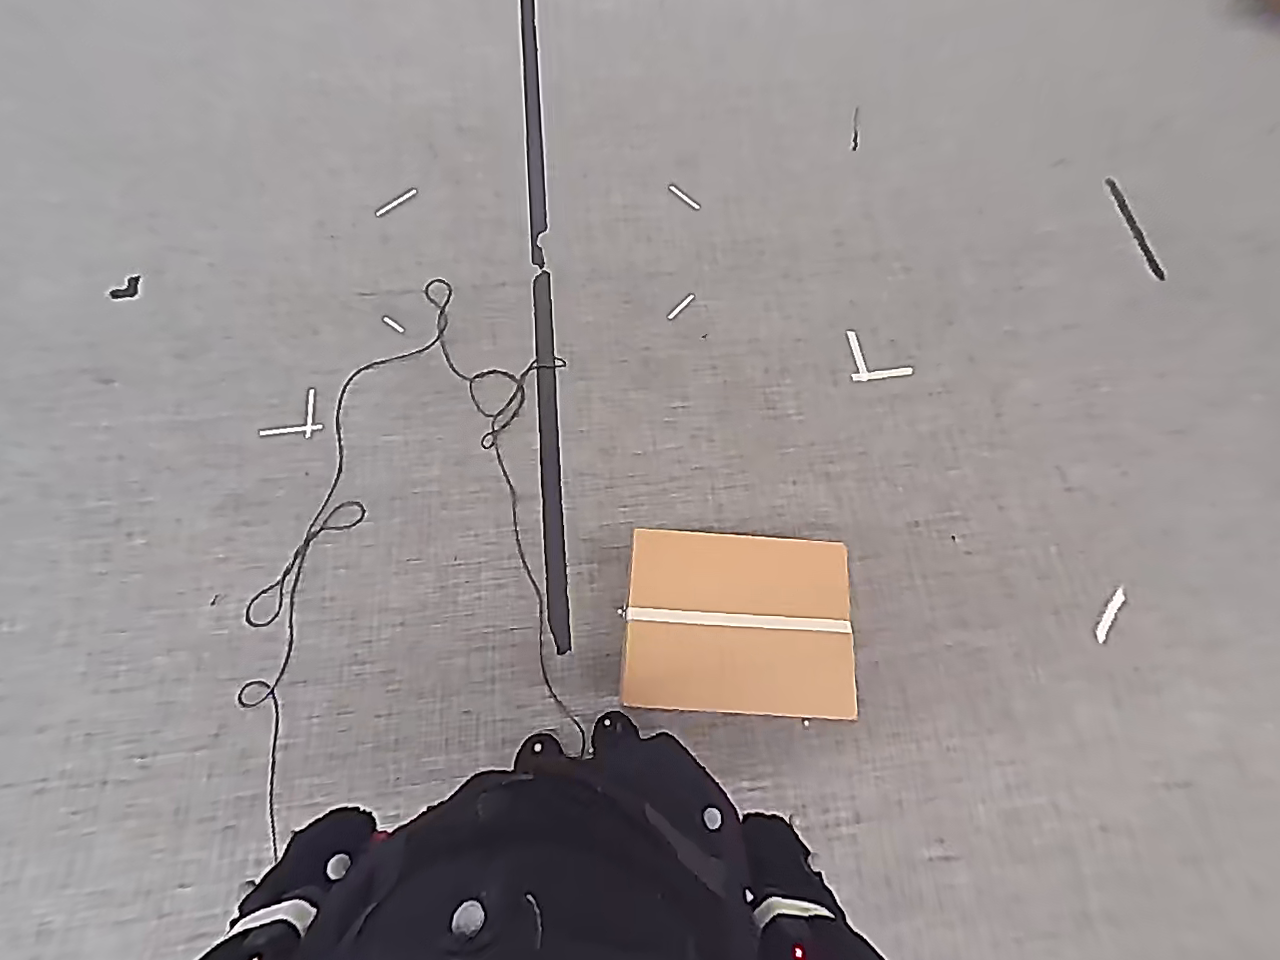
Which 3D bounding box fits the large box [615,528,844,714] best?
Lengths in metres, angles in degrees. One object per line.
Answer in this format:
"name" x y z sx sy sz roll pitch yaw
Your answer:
"large box" 0.160 0.293 1.121 0.408 0.320 0.320 5 71 -2
